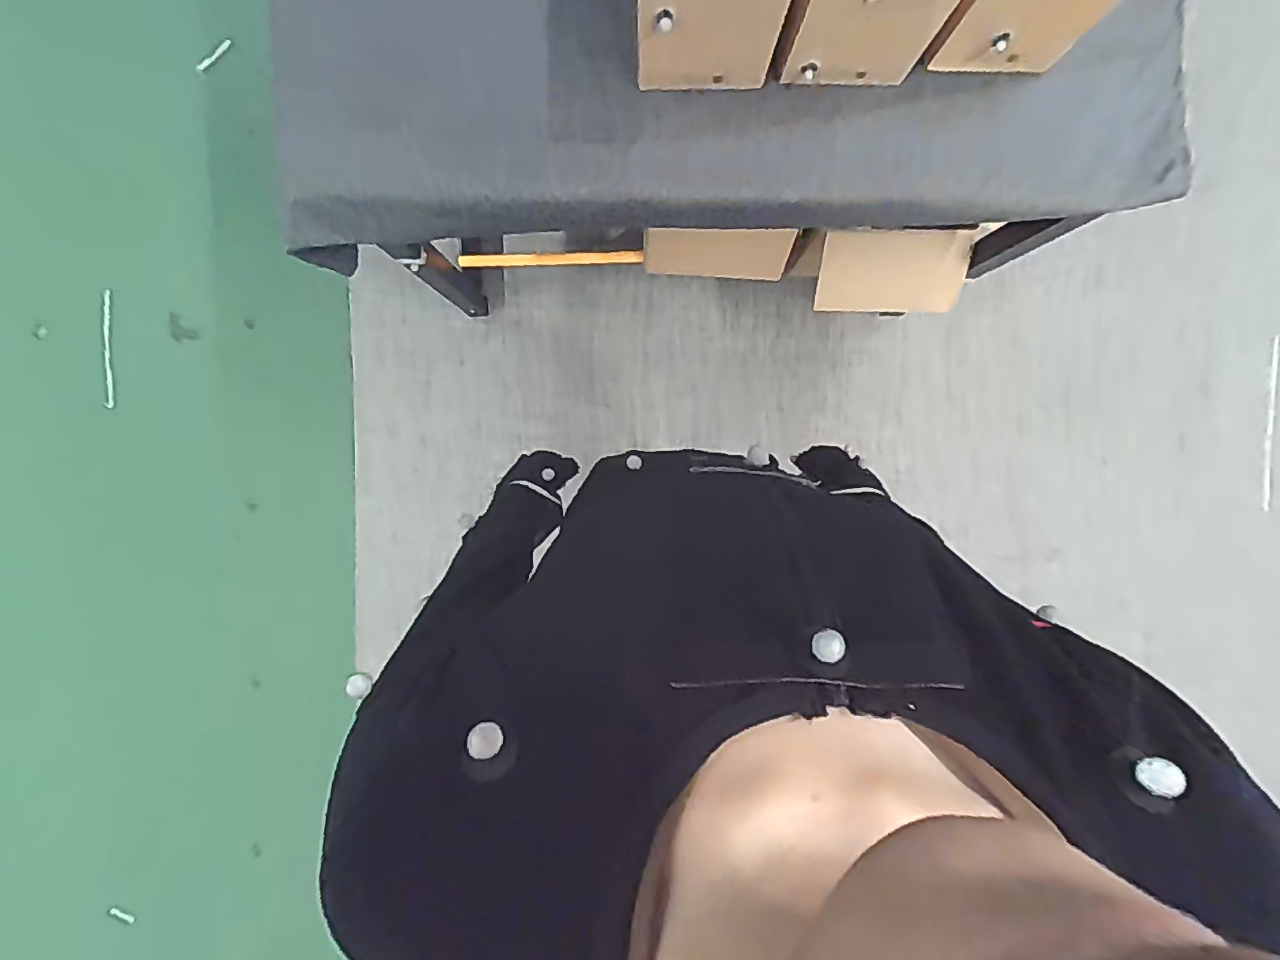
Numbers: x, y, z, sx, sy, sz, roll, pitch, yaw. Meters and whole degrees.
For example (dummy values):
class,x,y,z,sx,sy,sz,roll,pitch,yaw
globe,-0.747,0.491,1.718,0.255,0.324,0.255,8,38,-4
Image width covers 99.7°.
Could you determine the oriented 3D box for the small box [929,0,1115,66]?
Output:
class,x,y,z,sx,sy,sz,roll,pitch,yaw
small box,0.463,-0.634,0.632,0.168,0.176,0.179,0,94,0
